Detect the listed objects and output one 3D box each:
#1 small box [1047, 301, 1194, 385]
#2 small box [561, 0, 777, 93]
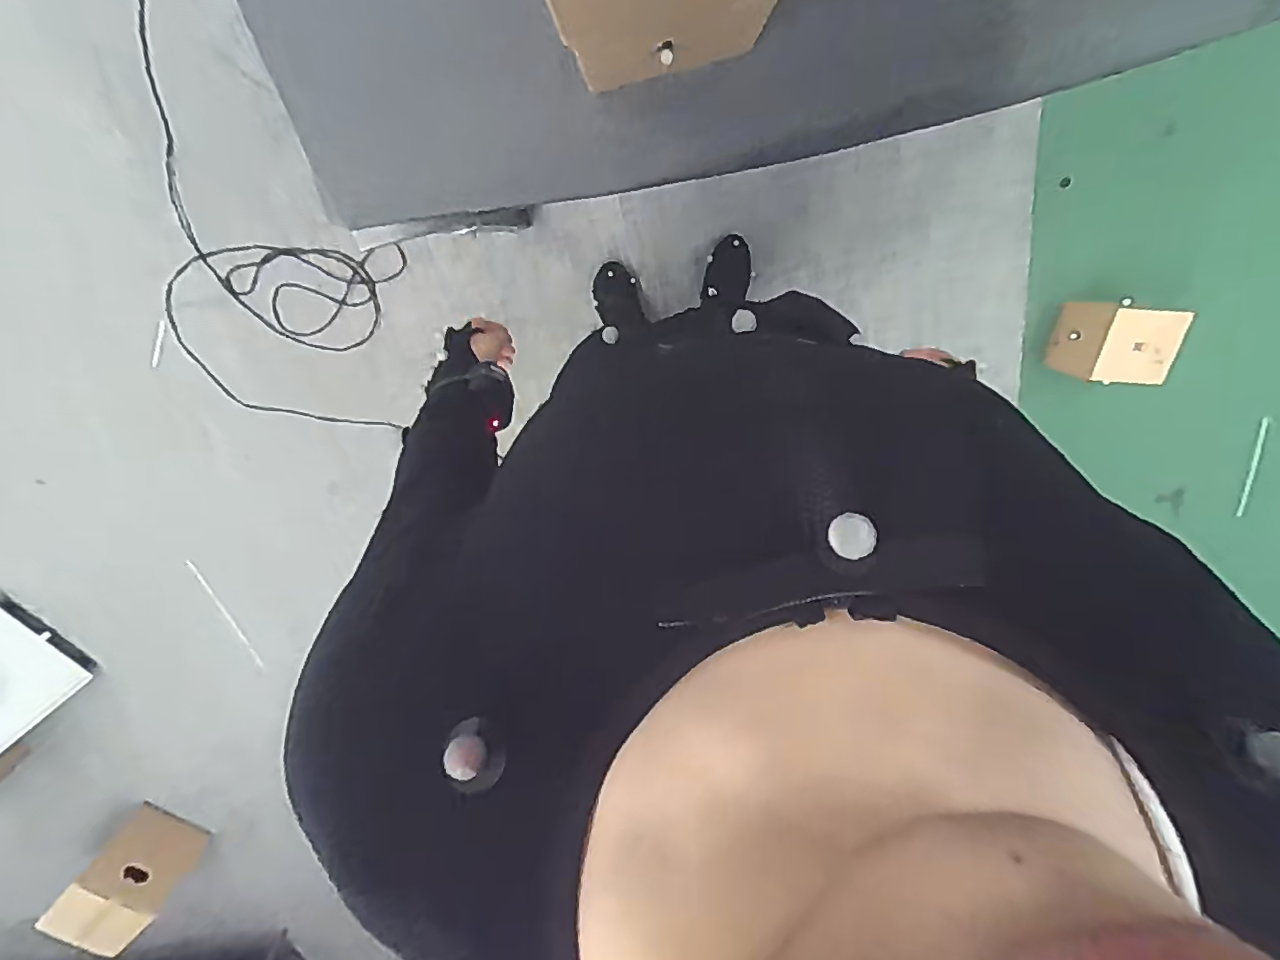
[{"bbox_3d":[1.140,-0.334,1.303,0.179,0.176,0.168,3,116,-1],"label":"small box"},{"bbox_3d":[0.009,-0.462,0.460,0.179,0.176,0.168,-11,113,6],"label":"small box"}]
